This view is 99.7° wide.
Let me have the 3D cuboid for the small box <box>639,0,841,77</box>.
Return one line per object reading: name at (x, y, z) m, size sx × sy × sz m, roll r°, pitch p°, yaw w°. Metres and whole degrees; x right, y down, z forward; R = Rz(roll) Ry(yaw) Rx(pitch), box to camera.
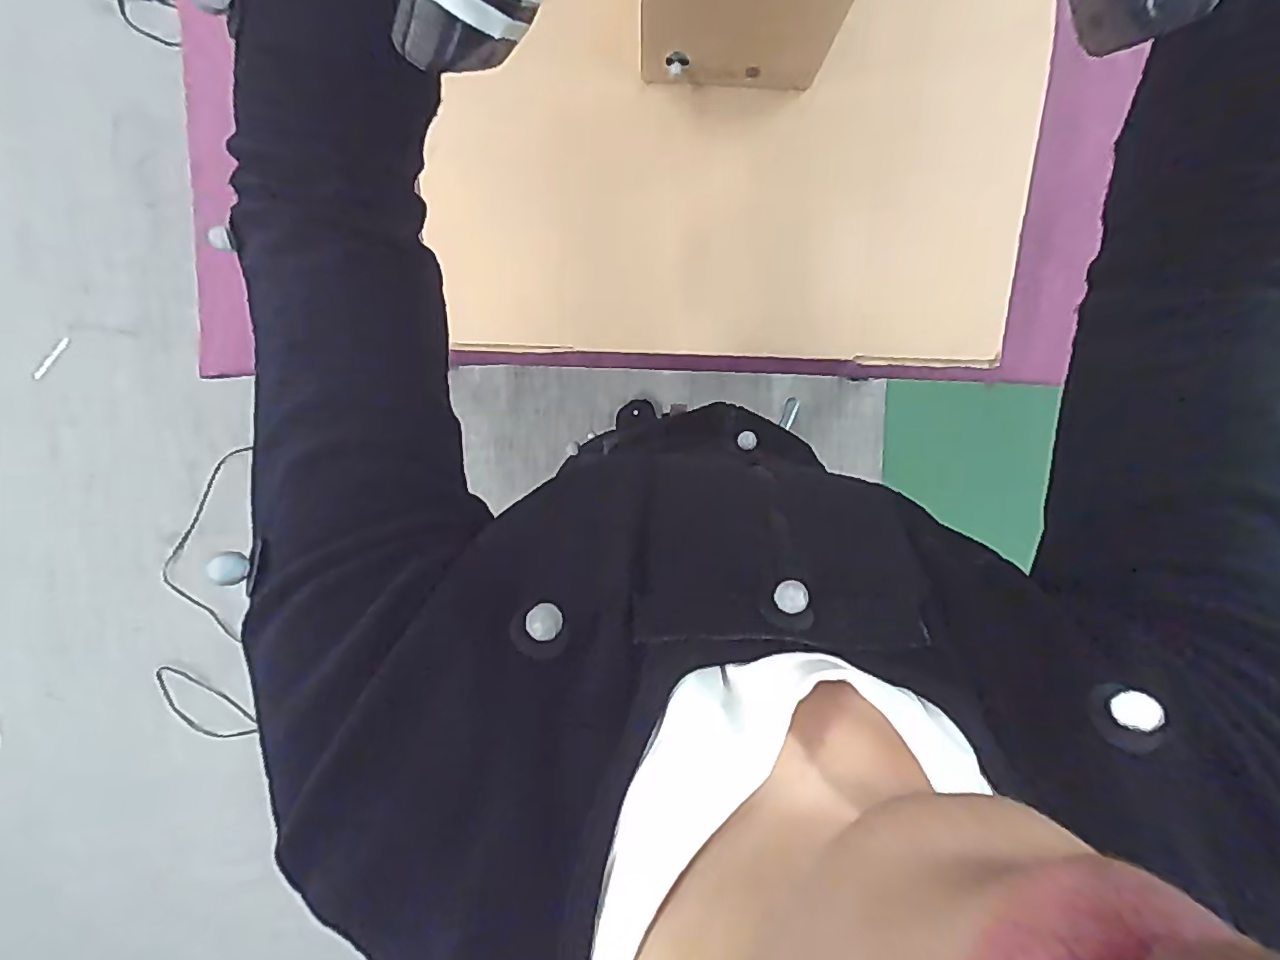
small box at (0.085, -0.460, 0.426) m, size 0.168 × 0.176 × 0.179 m, roll 3°, pitch 95°, yaw -1°
